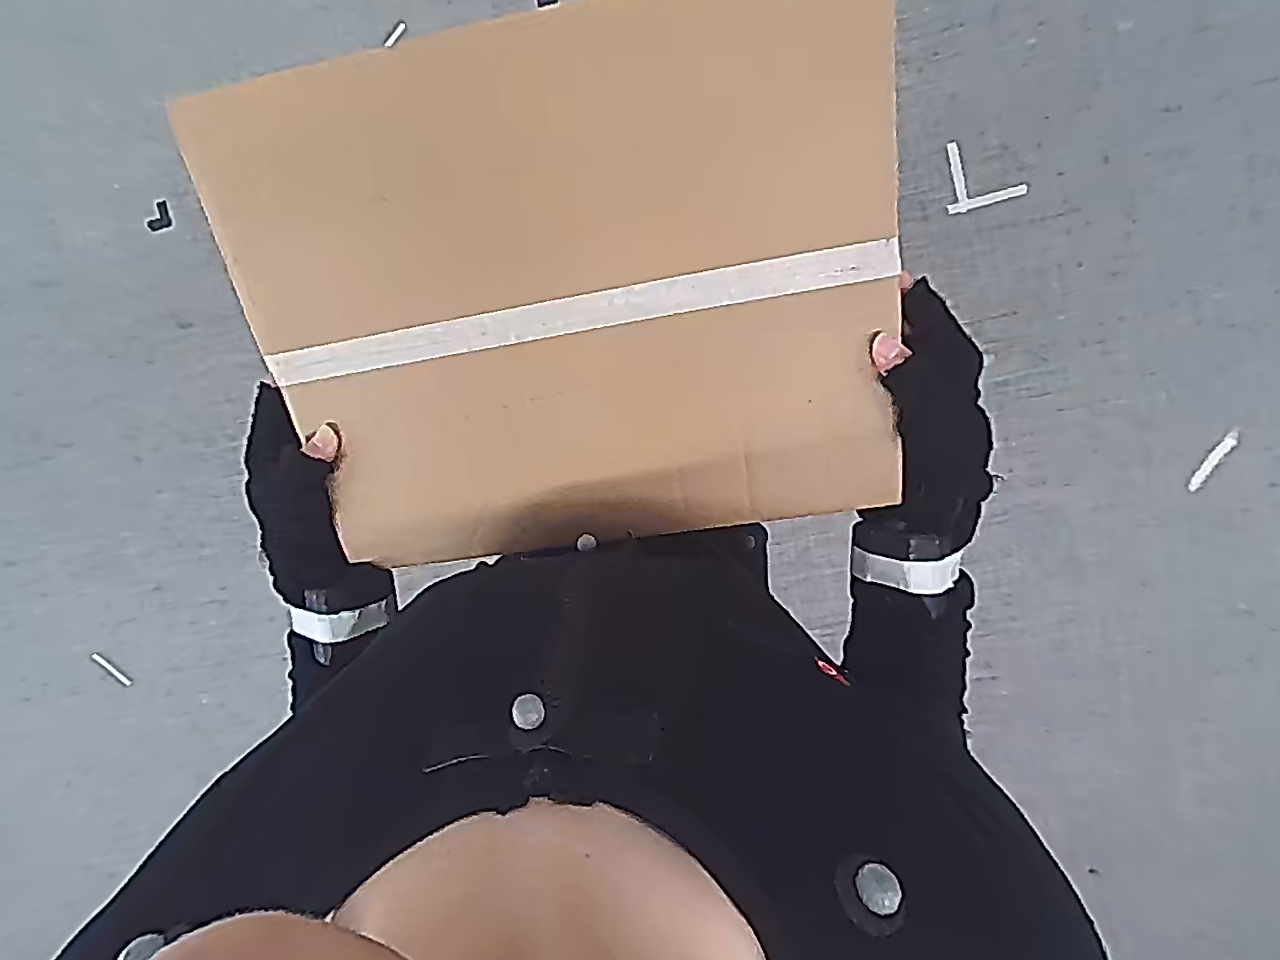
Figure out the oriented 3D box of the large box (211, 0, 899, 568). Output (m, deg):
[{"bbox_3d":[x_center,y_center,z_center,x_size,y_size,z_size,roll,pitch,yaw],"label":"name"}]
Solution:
[{"bbox_3d":[-0.033,-0.150,0.489,0.408,0.320,0.320,-8,110,7],"label":"large box"}]
